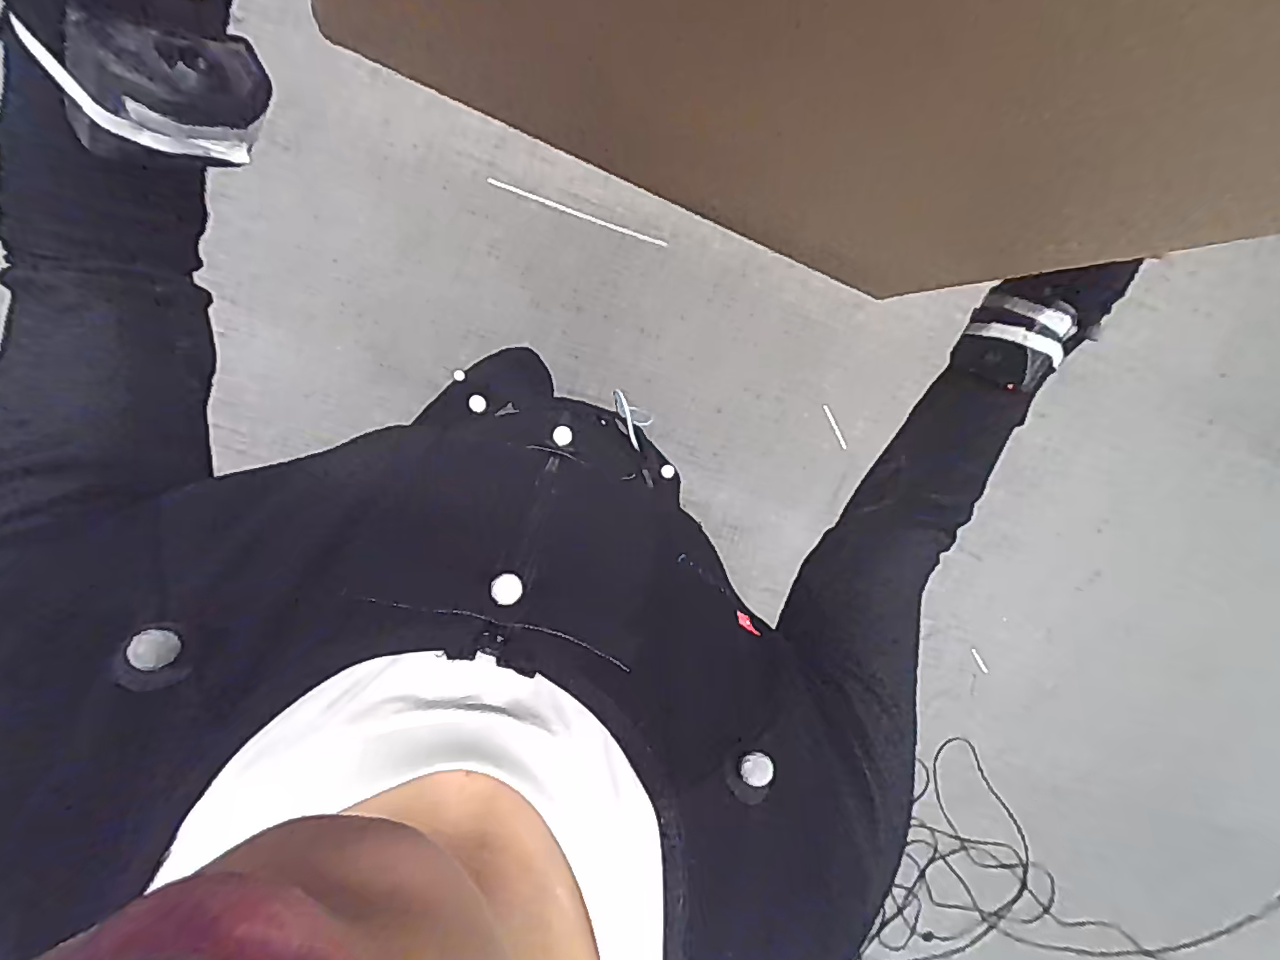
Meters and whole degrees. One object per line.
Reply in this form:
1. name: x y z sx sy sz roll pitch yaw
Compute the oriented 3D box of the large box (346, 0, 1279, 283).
1. large box: 0.136 -0.307 0.207 0.408 0.320 0.320 7 95 -33
